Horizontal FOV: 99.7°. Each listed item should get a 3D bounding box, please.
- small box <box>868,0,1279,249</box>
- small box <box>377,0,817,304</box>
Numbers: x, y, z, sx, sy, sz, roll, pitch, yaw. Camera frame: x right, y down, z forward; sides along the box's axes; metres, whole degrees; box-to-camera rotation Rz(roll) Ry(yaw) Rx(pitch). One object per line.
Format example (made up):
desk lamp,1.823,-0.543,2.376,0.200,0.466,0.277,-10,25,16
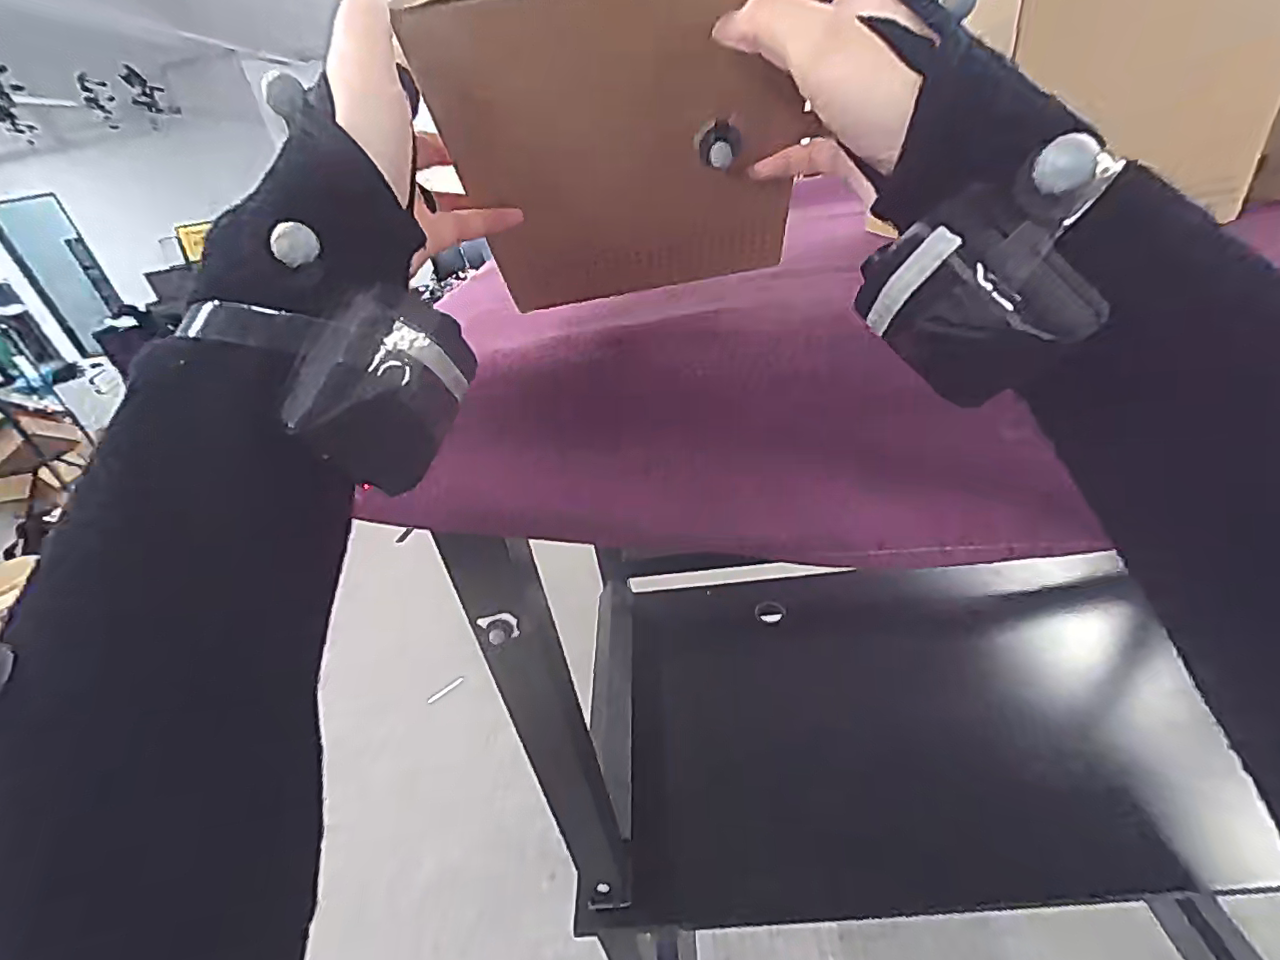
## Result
small box,0.274,-0.264,0.370,0.168,0.176,0.179,-9,30,1
small box,-0.018,-0.229,0.309,0.179,0.176,0.168,-10,64,2
